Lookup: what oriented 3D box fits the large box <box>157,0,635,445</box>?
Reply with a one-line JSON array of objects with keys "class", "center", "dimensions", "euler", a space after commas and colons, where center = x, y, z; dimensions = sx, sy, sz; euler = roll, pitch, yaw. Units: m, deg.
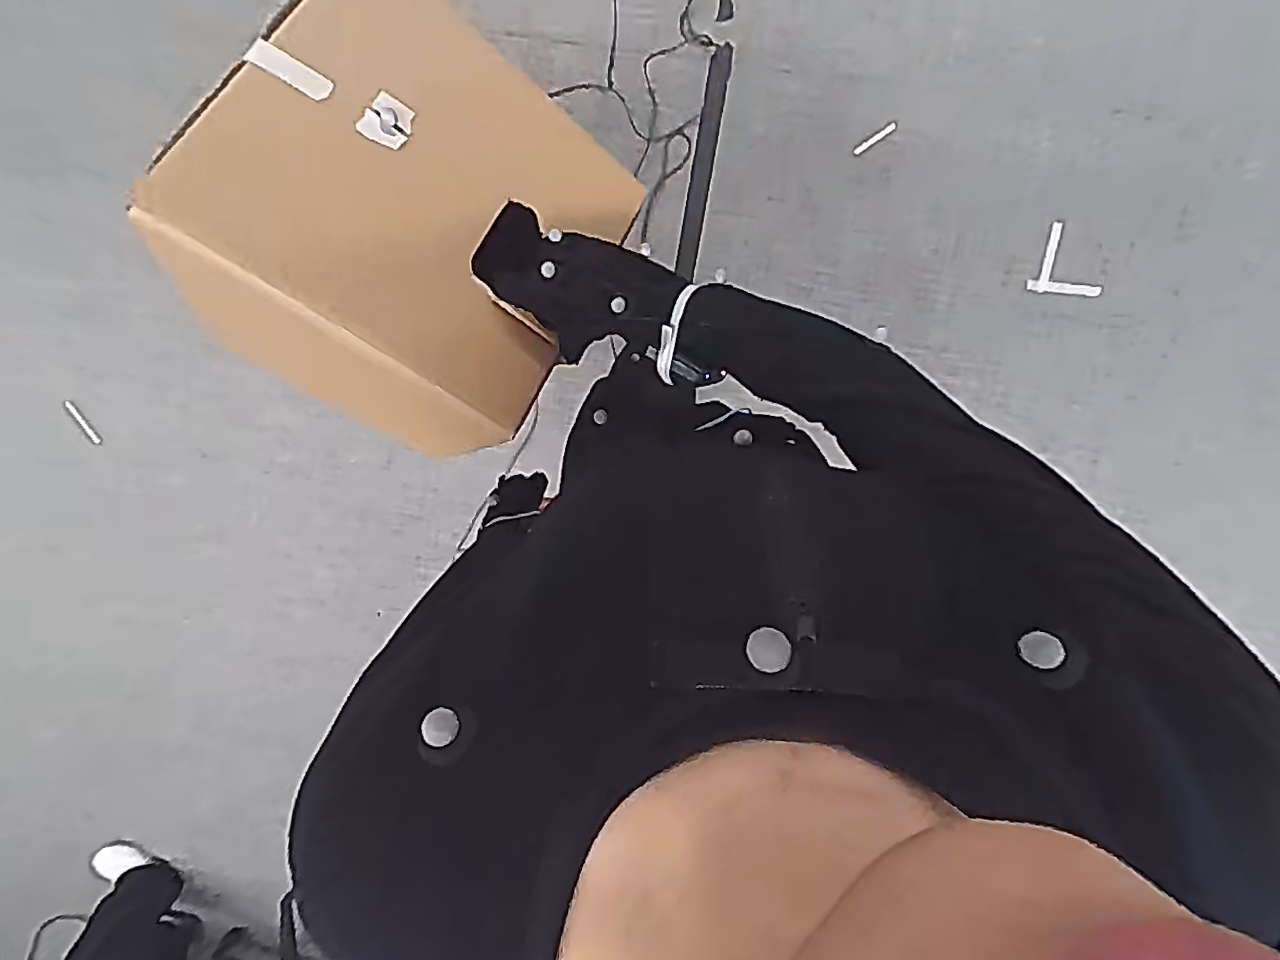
[{"class": "large box", "center": [-0.277, -0.255, 0.659], "dimensions": [0.320, 0.408, 0.320], "euler": [34, 74, -26]}]
